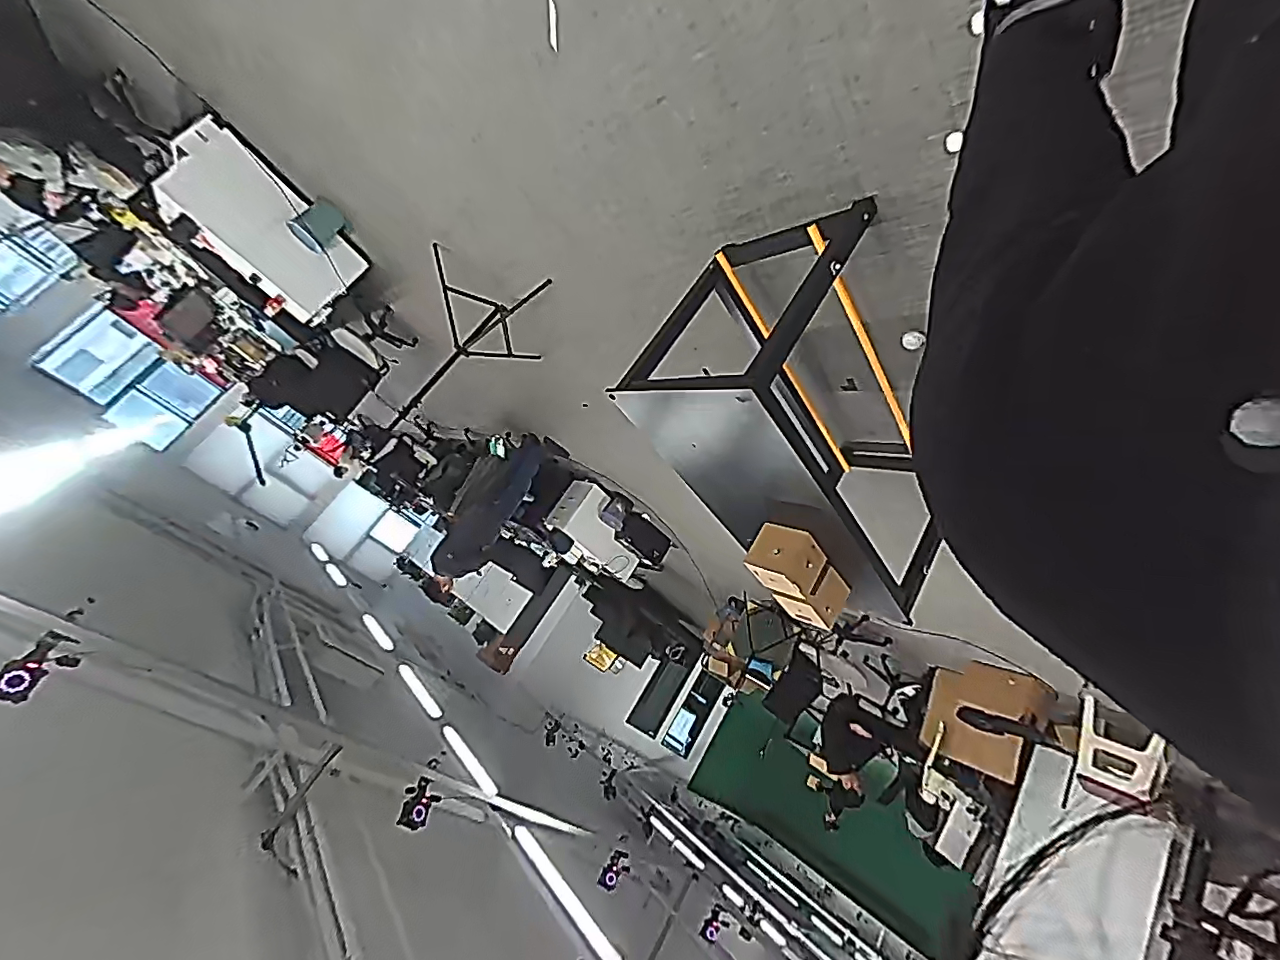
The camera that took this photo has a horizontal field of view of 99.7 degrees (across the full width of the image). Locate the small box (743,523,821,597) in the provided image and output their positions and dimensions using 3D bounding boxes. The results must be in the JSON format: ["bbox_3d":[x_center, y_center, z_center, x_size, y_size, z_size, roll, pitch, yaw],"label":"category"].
[{"bbox_3d":[0.484,0.263,1.814,0.179,0.176,0.168,11,151,50],"label":"small box"}]

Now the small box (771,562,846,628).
[{"bbox_3d":[0.607,0.395,1.932,0.168,0.176,0.179,9,148,53],"label":"small box"}]
